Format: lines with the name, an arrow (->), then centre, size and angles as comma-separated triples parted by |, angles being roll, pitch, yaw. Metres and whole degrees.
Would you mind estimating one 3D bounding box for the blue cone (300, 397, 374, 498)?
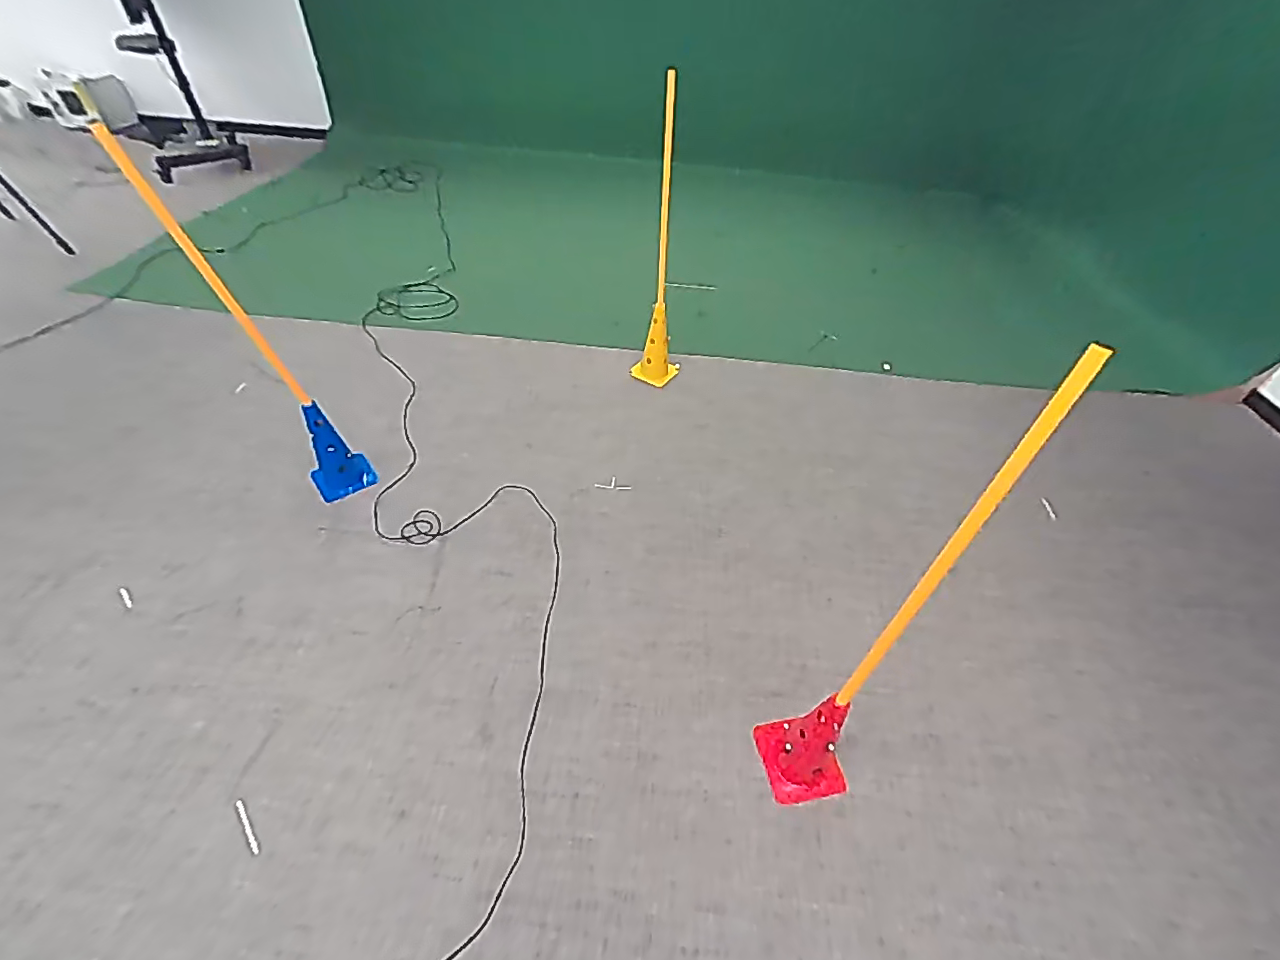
blue cone -> -1.110, -0.130, 1.917 | 0.193, 0.380, 0.192 | -31, 56, -28
